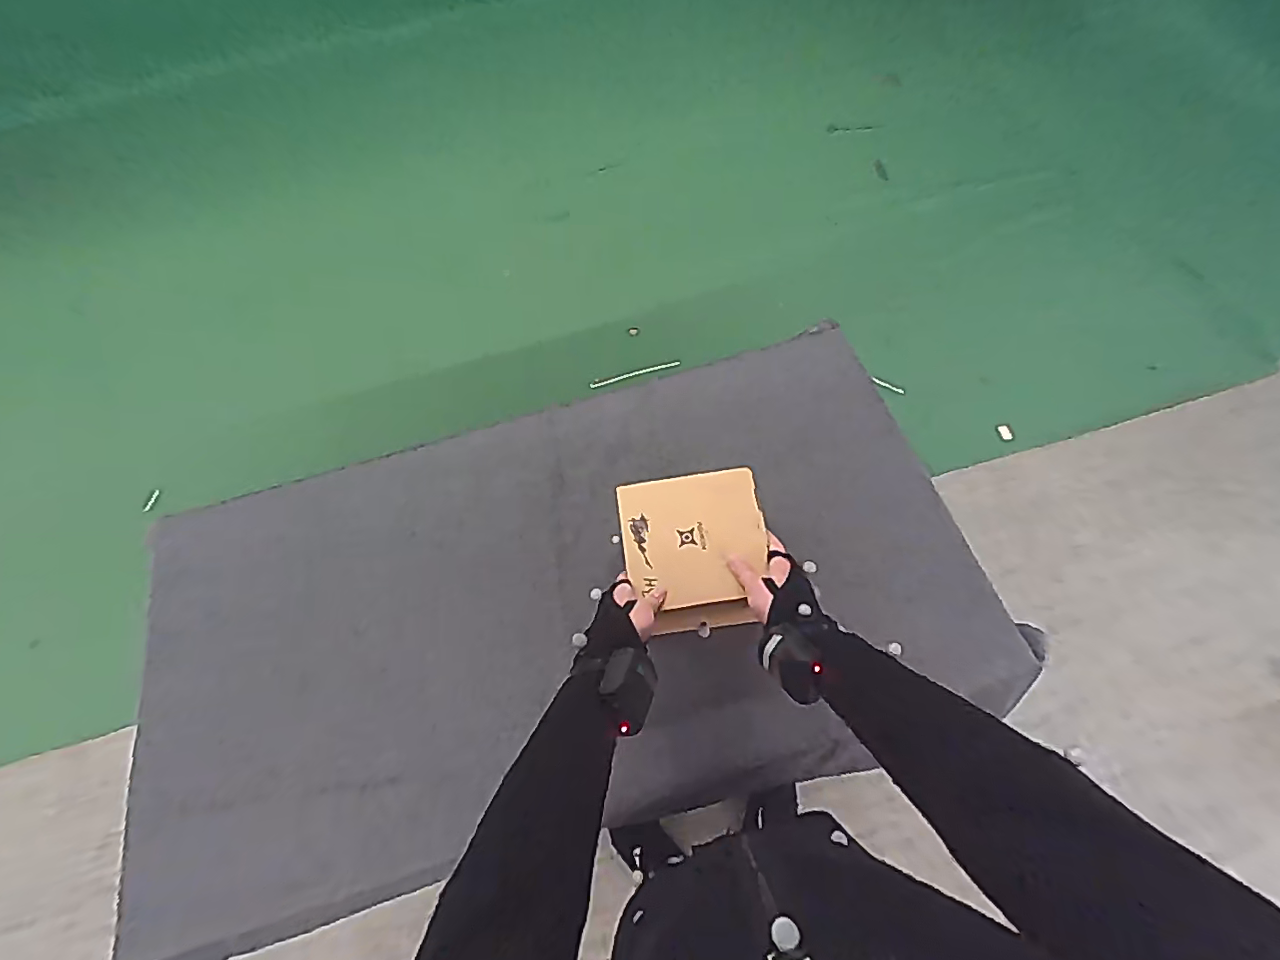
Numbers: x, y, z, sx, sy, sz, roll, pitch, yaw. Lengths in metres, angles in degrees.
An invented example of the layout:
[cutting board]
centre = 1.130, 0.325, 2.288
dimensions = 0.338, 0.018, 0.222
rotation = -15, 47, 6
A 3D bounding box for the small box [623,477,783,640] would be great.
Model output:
[small box]
centre = 0.075, 0.112, 0.730
dimensions = 0.179, 0.176, 0.168
rotation = -8, 65, 0
